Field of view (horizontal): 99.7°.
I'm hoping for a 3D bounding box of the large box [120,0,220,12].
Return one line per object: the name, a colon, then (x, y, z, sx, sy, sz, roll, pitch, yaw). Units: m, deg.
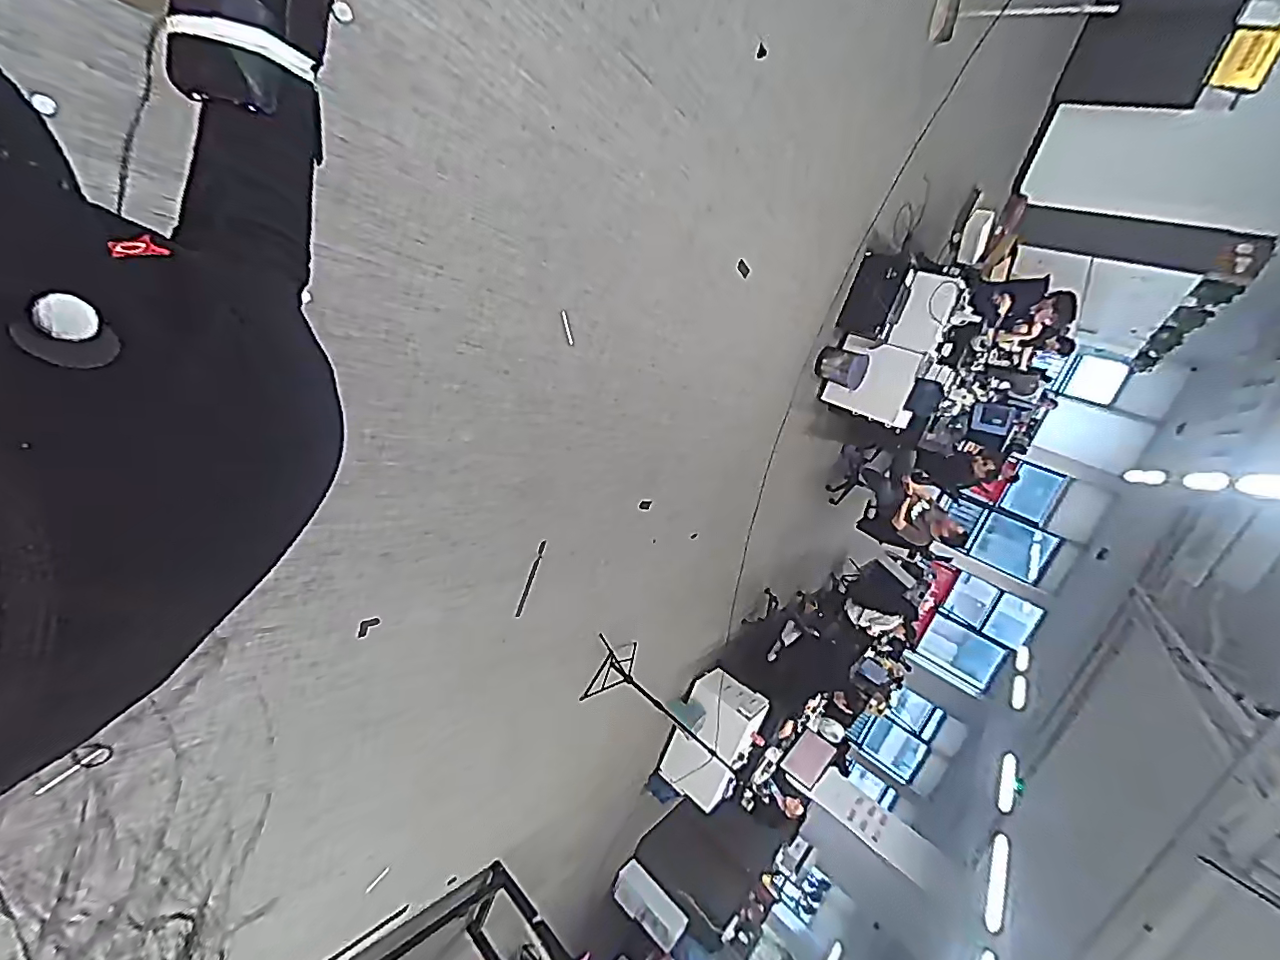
large box: (-0.455, -0.527, 0.254, 0.408, 0.320, 0.320, 3, 118, -52)
